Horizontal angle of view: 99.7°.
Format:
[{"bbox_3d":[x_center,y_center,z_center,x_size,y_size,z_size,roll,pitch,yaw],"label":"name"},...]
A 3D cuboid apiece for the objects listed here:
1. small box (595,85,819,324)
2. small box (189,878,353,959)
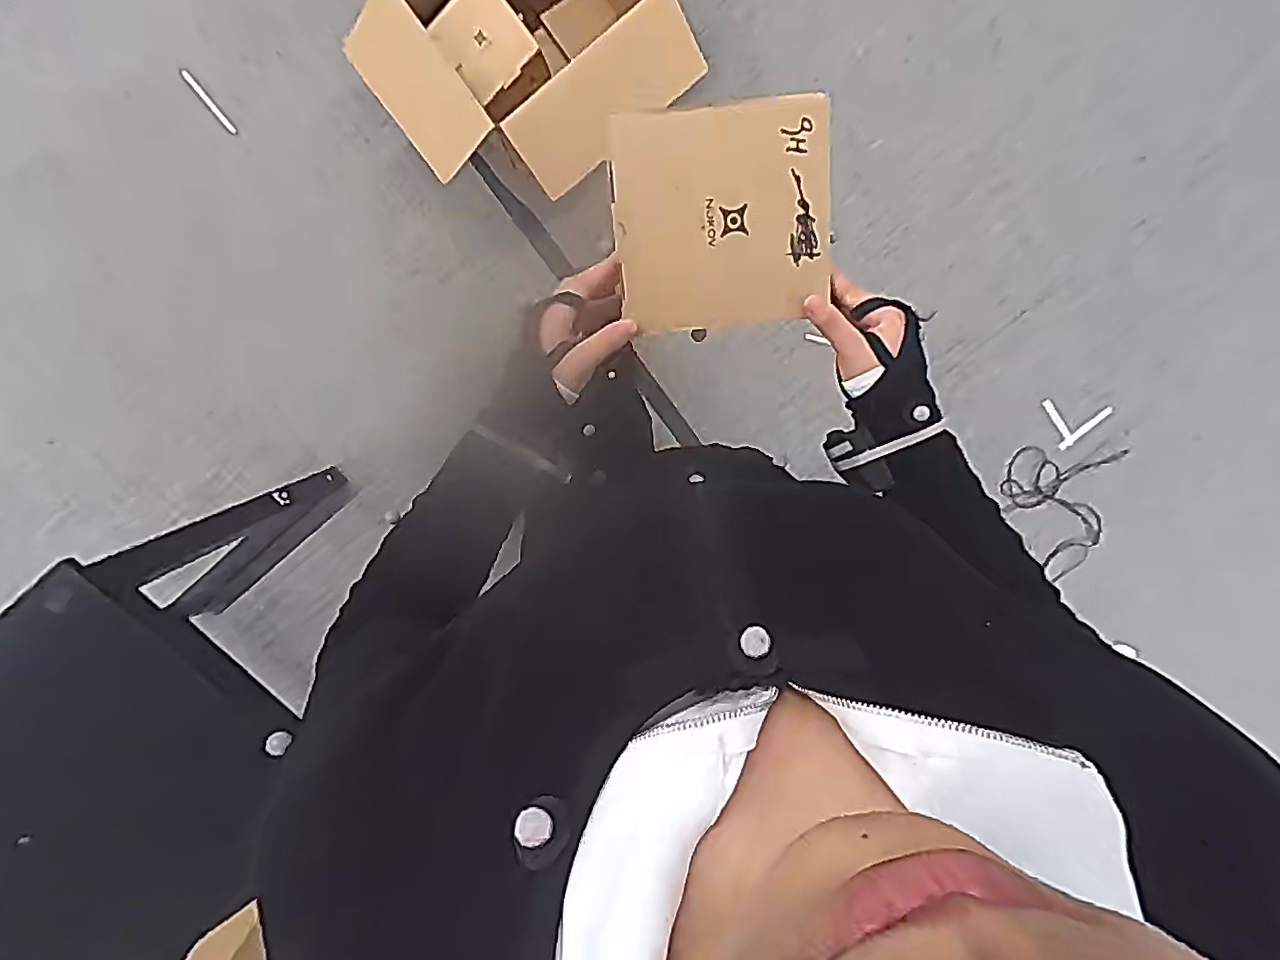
[{"bbox_3d":[0.058,-0.240,0.515,0.179,0.176,0.168,-6,107,1],"label":"small box"},{"bbox_3d":[-0.563,0.740,0.781,0.179,0.176,0.168,-38,102,5],"label":"small box"}]
